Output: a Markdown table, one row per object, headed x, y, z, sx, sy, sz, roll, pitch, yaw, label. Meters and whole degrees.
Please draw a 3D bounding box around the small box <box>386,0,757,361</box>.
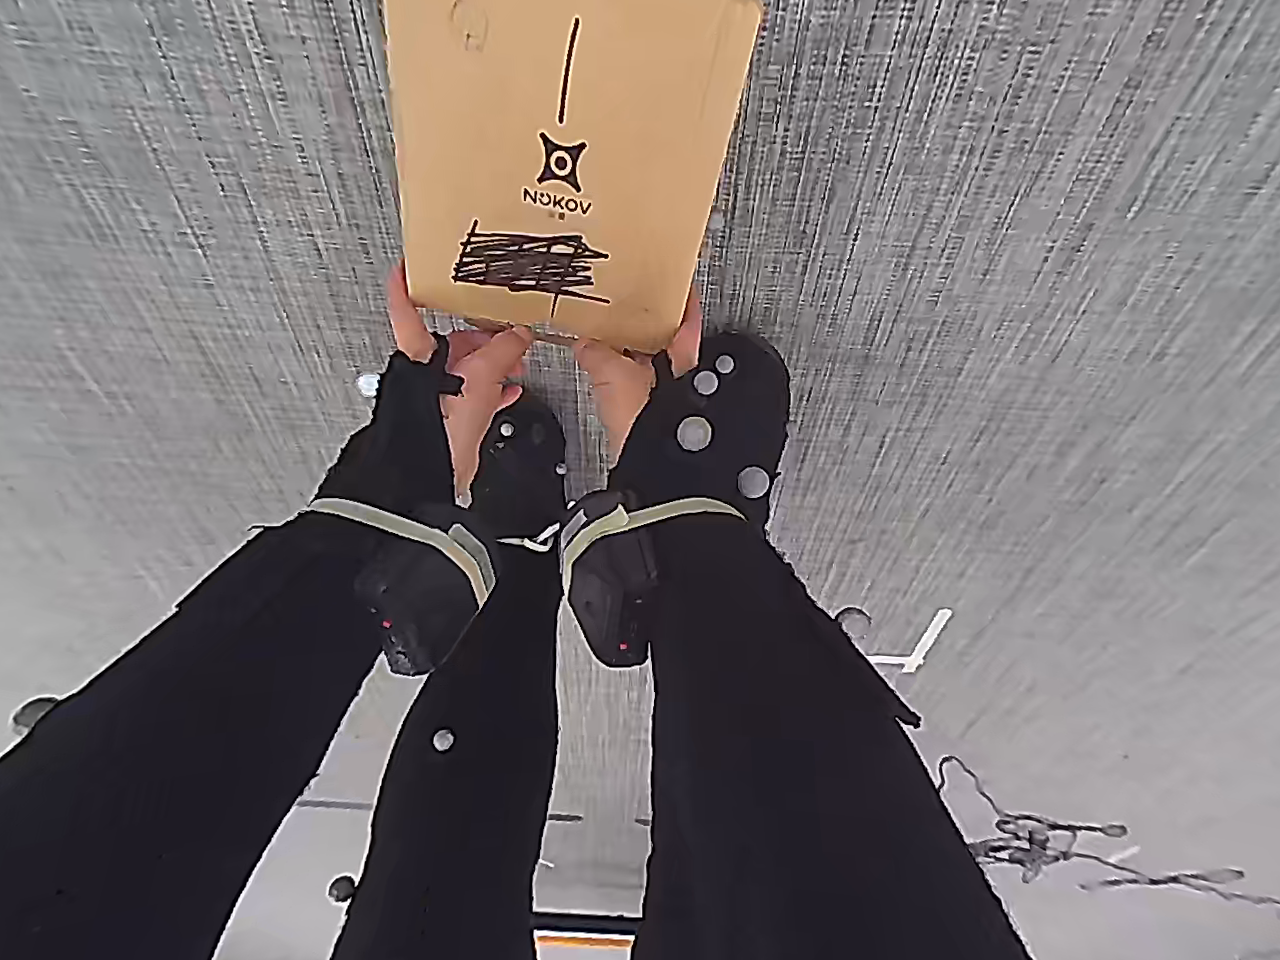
| x | y | z | sx | sy | sz | roll | pitch | yaw | label |
| --- | --- | --- | --- | --- | --- | --- | --- | --- | --- |
| -0.040 | -0.205 | 0.341 | 0.168 | 0.176 | 0.179 | 10 | 130 | -6 | small box |
